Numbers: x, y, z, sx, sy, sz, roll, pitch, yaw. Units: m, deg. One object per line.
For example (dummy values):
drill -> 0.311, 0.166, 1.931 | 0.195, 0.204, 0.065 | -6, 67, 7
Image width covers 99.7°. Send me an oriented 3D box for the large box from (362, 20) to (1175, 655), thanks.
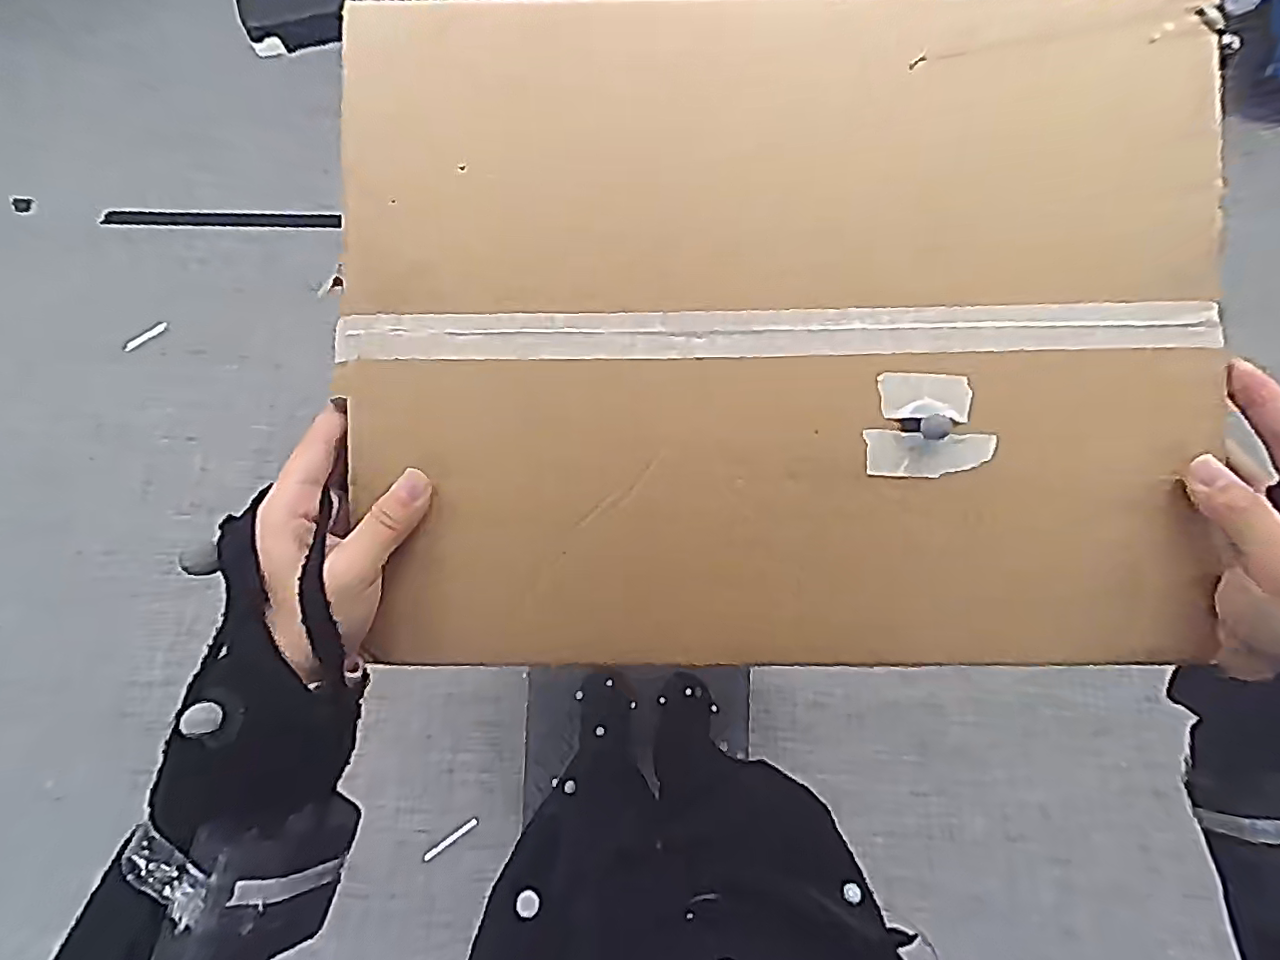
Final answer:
large box -> 0.061, -0.071, 0.417 | 0.408, 0.320, 0.320 | -1, 91, 0
